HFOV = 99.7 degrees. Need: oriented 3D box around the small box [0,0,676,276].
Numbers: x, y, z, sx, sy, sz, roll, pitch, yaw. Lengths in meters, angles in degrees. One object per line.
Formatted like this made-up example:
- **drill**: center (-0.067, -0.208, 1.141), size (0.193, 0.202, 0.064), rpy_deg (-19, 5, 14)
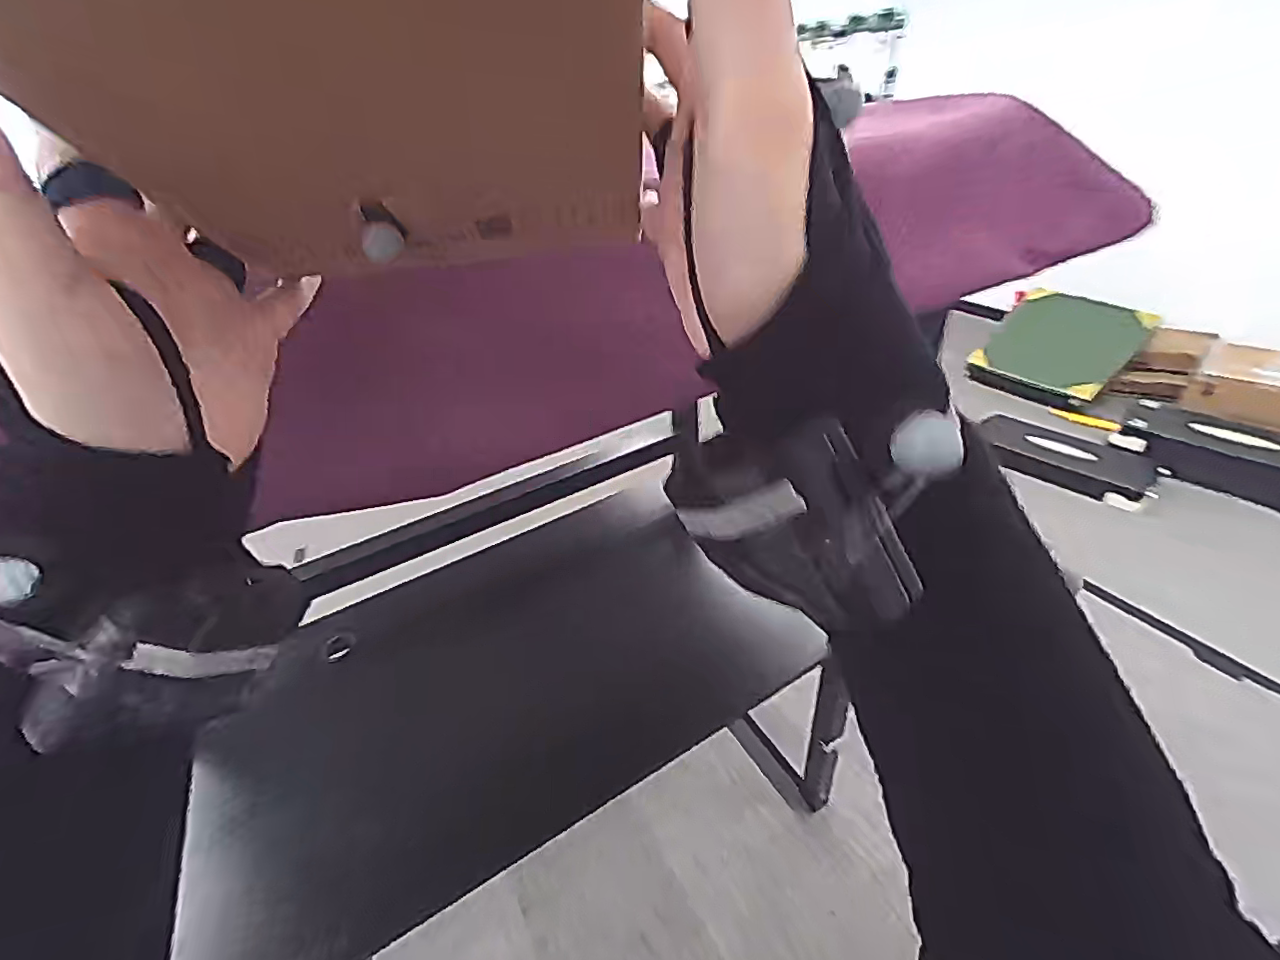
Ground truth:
- **small box**: center (-0.082, -0.190, 0.168), size (0.168, 0.179, 0.176), rpy_deg (-6, -4, -1)
